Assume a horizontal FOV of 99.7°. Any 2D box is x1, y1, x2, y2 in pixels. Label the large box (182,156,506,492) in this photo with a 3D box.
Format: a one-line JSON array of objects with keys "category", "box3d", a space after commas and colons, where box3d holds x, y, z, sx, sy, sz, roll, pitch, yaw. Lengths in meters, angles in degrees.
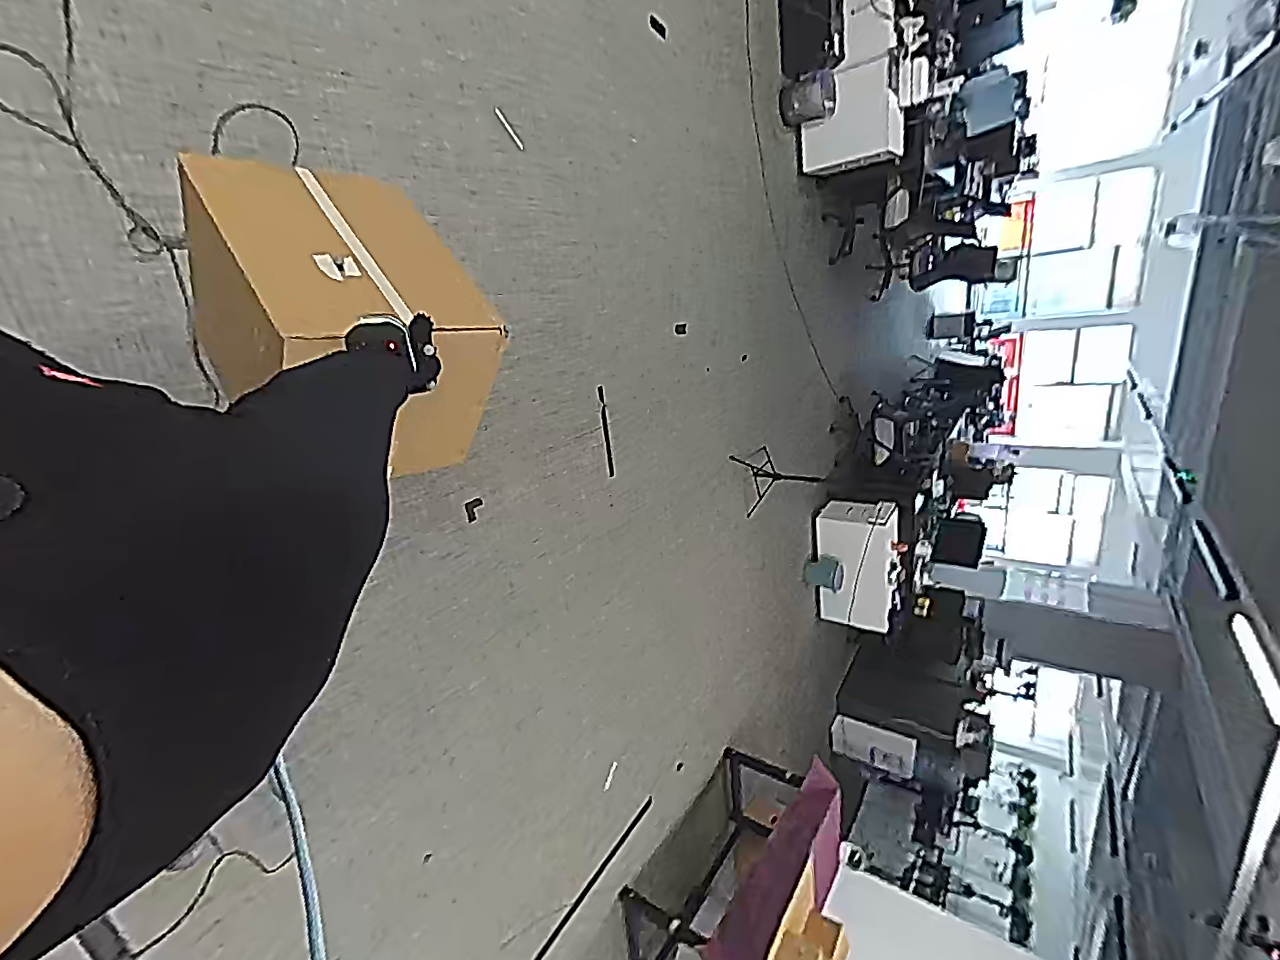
[{"category": "large box", "box3d": [-0.497, -0.251, 0.901, 0.320, 0.408, 0.320, -19, 154, -45]}]
